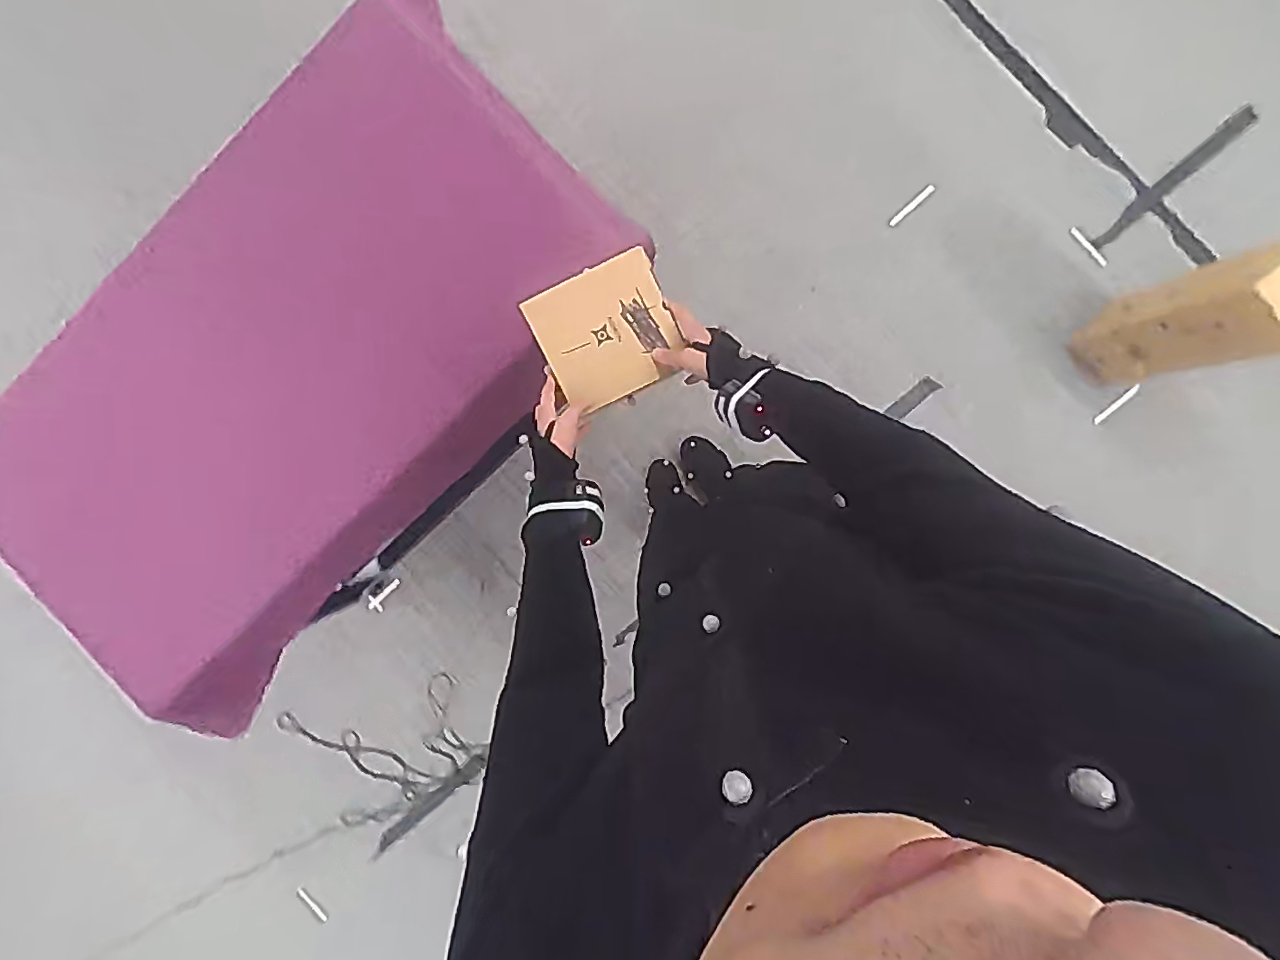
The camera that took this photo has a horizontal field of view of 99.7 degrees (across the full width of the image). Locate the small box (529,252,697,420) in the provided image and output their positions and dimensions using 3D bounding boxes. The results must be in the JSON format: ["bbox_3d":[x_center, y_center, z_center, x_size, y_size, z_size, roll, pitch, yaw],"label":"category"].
[{"bbox_3d":[-0.038,-0.197,0.783,0.179,0.176,0.168,-25,97,1],"label":"small box"}]

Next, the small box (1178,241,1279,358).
[{"bbox_3d":[1.278,-0.371,1.096,0.179,0.176,0.168,-42,91,6],"label":"small box"}]

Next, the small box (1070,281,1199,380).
[{"bbox_3d":[1.302,-0.384,1.423,0.168,0.176,0.179,44,97,1],"label":"small box"}]
